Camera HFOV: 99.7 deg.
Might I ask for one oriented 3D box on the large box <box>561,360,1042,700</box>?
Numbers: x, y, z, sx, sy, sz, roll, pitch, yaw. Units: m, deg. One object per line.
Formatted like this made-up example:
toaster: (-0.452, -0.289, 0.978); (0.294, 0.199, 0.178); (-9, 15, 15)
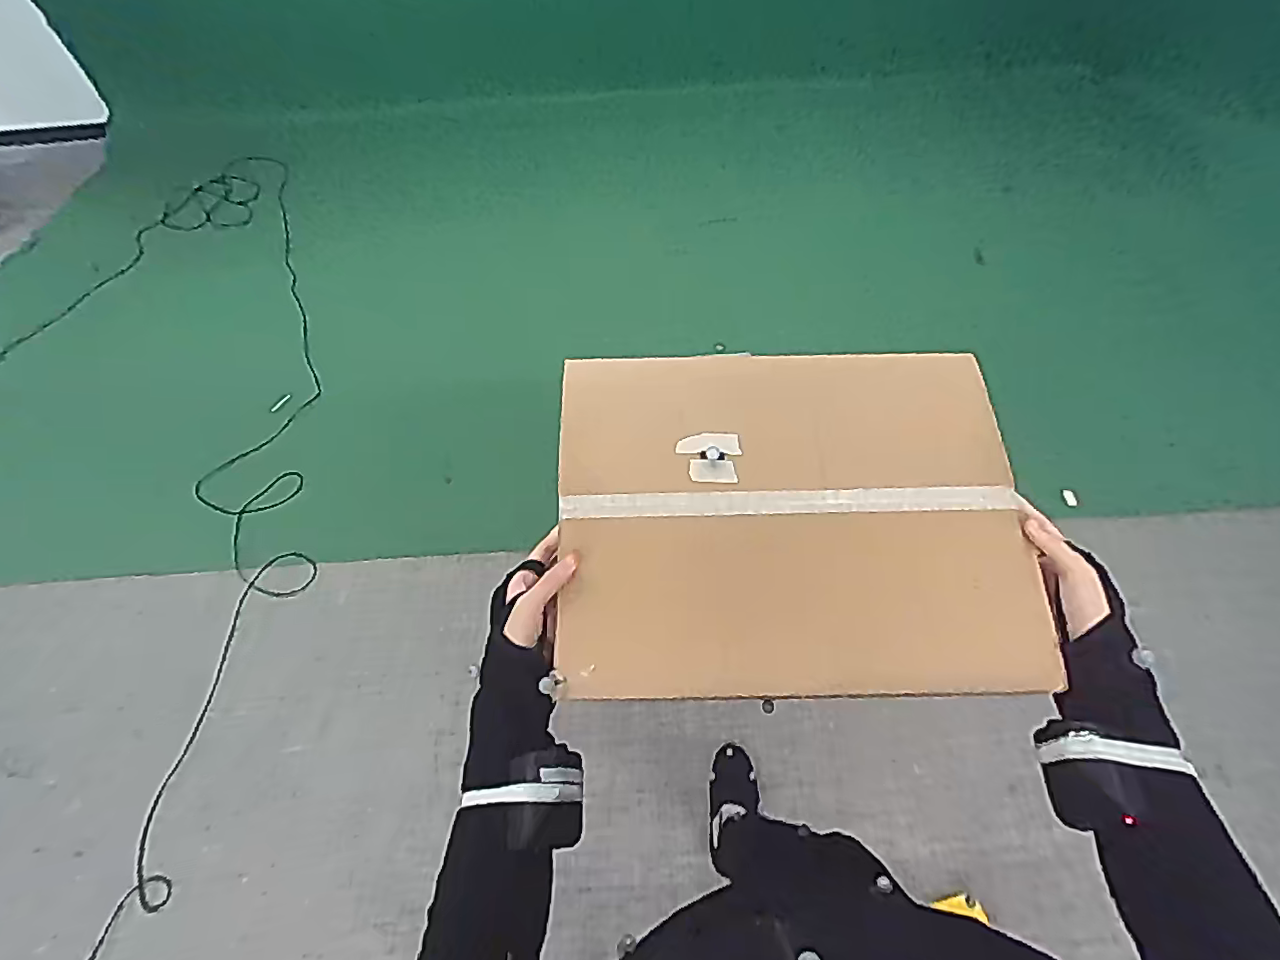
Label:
large box: (0.134, 0.082, 0.635); (0.408, 0.320, 0.320); (-2, 68, 1)
